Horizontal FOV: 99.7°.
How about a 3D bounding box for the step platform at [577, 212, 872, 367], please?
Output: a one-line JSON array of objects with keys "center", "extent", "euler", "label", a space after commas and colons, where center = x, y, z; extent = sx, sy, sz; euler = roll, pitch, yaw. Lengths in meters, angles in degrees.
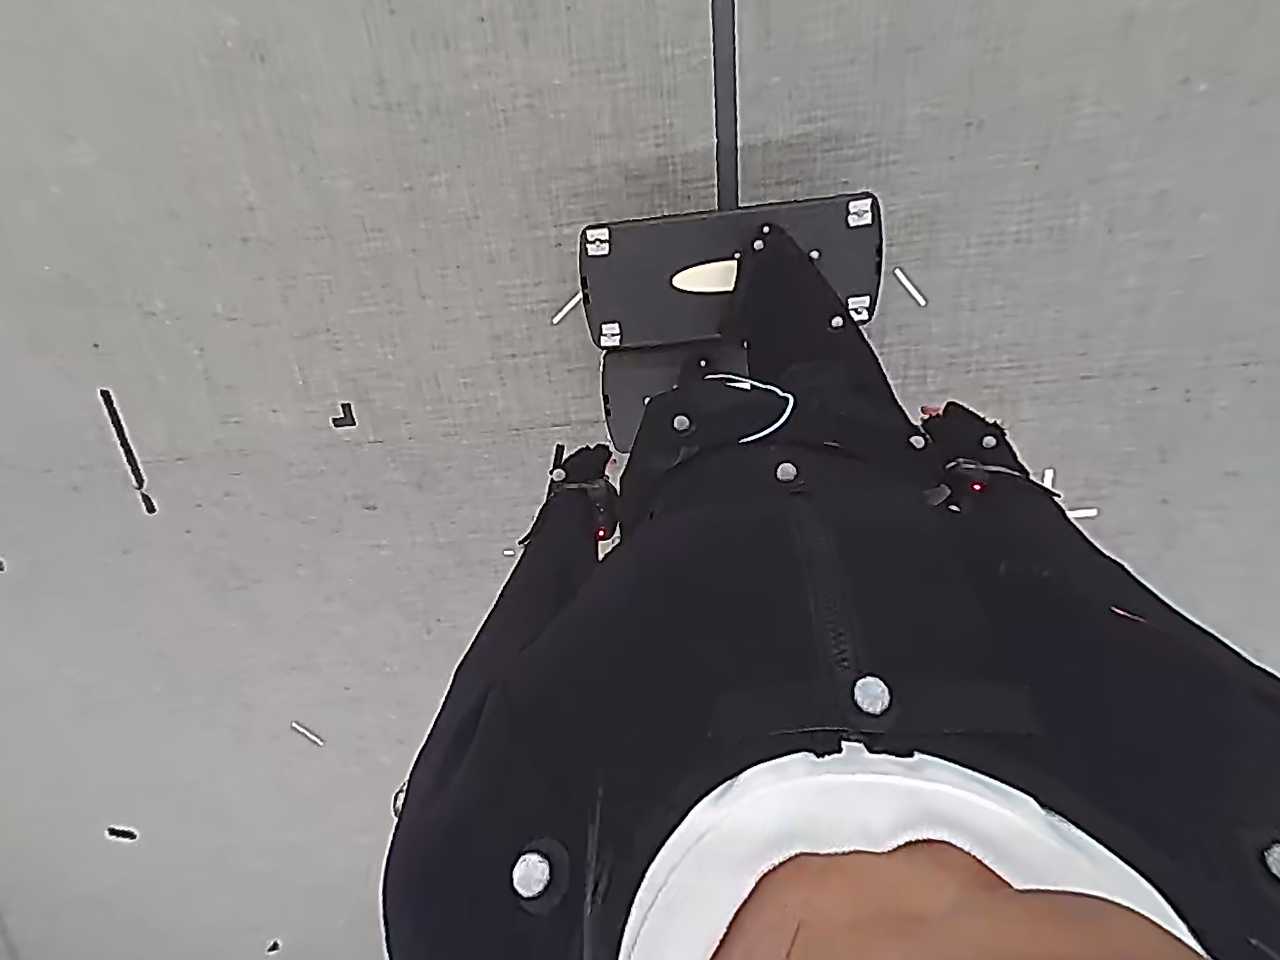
[{"center": [0.191, -0.451, 1.307], "extent": [0.684, 0.204, 0.286], "euler": [-5, 110, 5], "label": "step platform"}]
